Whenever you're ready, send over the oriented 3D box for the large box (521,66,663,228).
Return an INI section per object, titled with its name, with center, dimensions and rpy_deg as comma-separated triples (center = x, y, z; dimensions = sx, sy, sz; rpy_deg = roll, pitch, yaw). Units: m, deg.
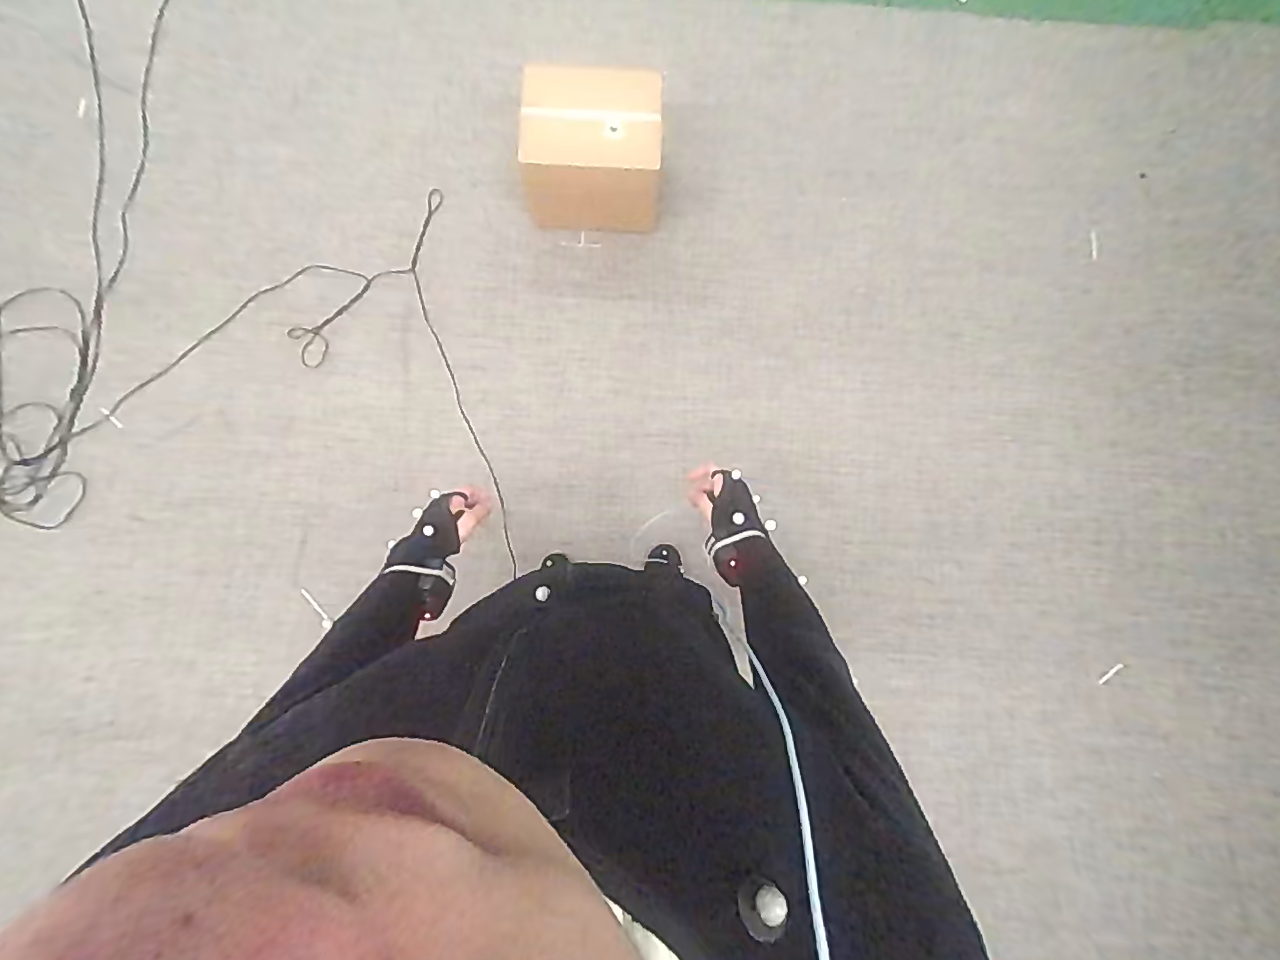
[large box]
center = -0.142, -1.019, 1.690
dimensions = 0.408, 0.320, 0.320
rpy_deg = 2, 82, -2
